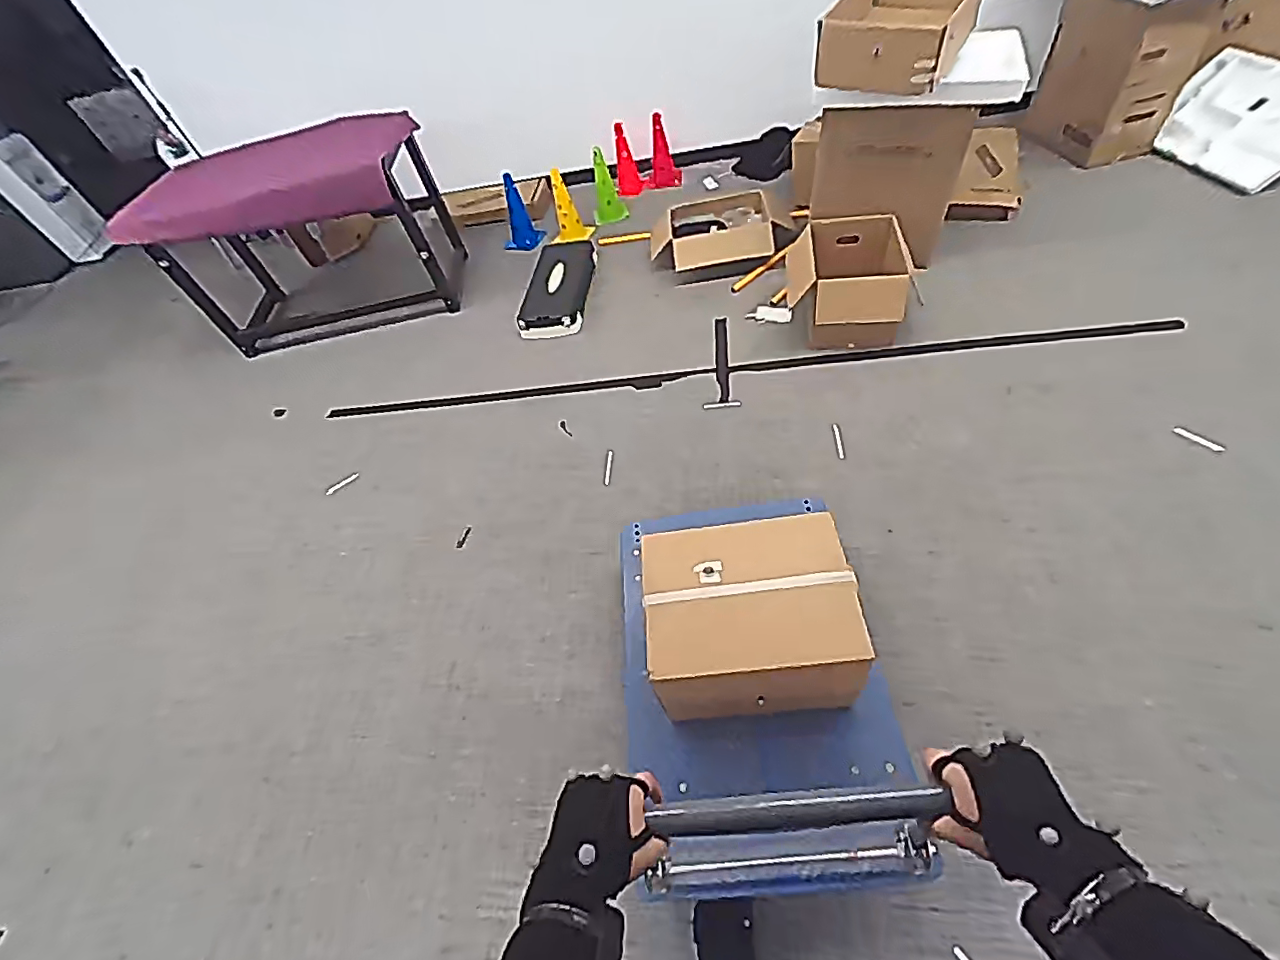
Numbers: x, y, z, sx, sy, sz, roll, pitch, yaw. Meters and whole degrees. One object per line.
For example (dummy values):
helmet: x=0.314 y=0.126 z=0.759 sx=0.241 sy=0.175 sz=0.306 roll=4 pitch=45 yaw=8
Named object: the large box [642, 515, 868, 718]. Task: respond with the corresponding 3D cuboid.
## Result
large box: x=0.237 y=0.313 z=1.196 sx=0.408 sy=0.320 sz=0.320 roll=-9 pitch=51 yaw=7
